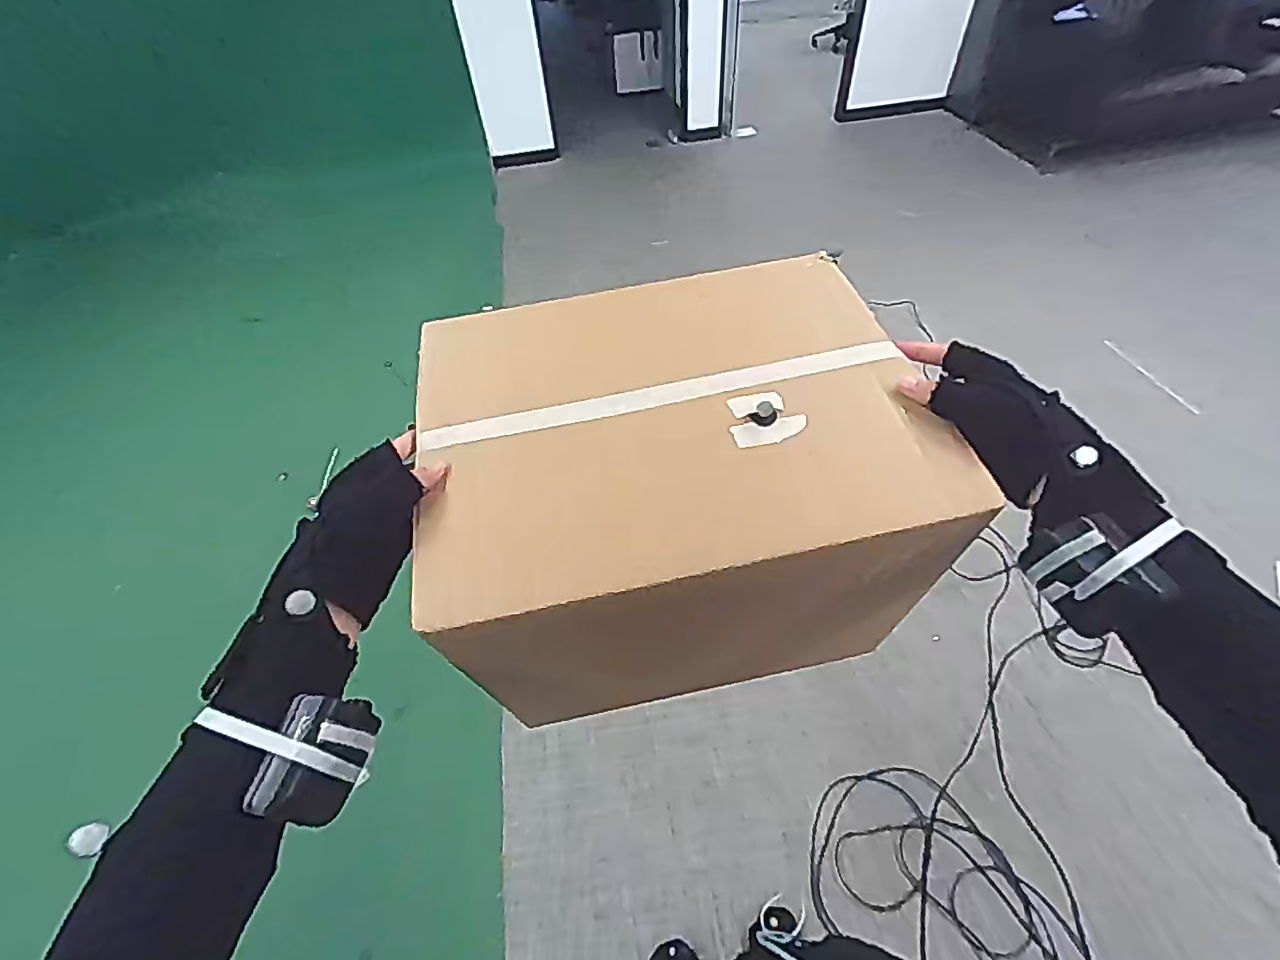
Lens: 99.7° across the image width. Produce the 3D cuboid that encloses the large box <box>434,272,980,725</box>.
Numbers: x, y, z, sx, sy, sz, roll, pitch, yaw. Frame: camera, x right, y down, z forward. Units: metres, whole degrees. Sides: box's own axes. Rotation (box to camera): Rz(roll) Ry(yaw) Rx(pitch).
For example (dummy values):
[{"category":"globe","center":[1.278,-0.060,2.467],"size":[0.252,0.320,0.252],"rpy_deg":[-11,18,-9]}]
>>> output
[{"category":"large box","center":[0.031,0.027,0.579],"size":[0.408,0.320,0.320],"rpy_deg":[-11,55,-4]}]
